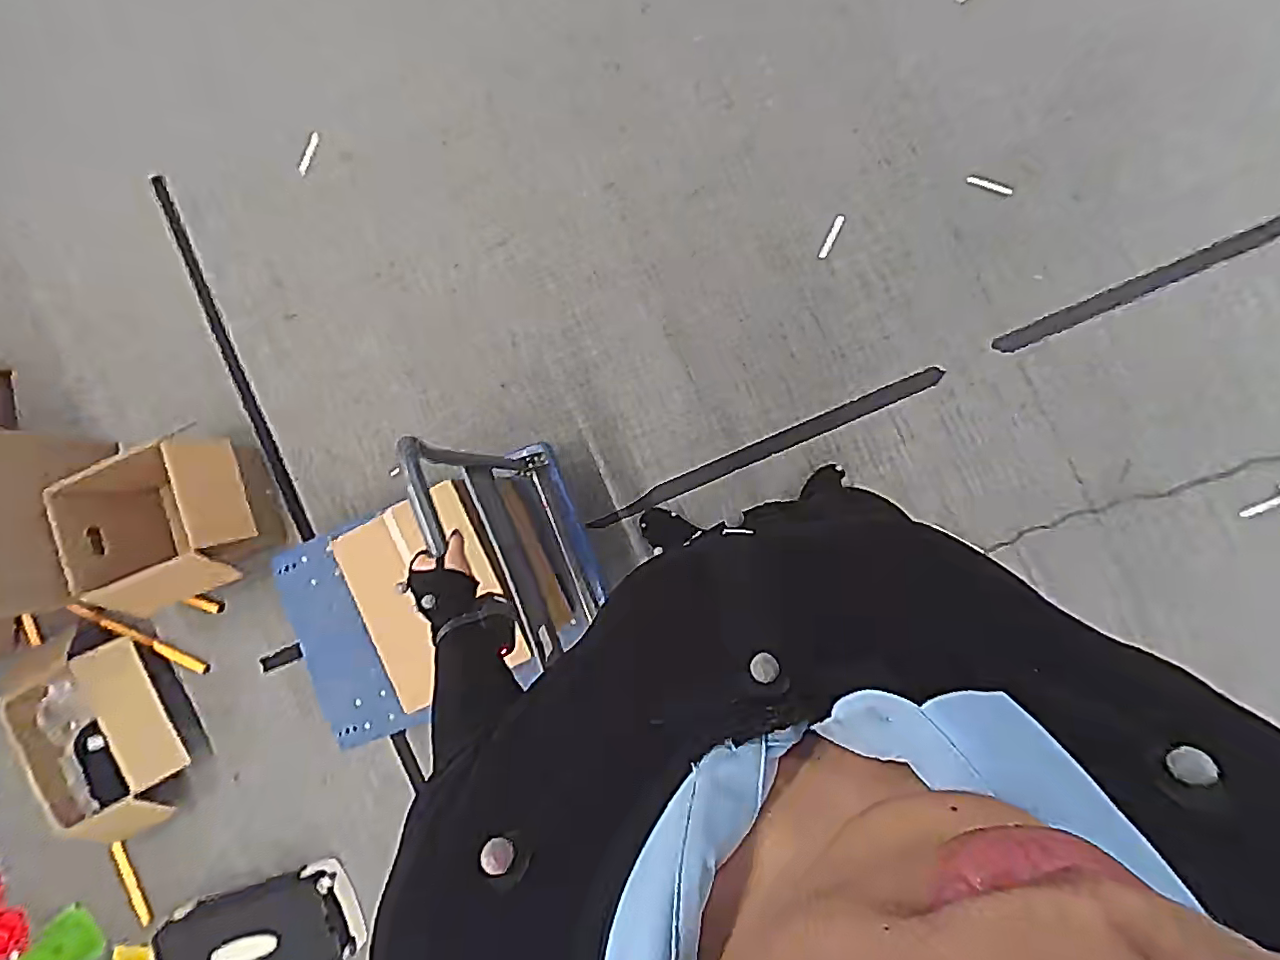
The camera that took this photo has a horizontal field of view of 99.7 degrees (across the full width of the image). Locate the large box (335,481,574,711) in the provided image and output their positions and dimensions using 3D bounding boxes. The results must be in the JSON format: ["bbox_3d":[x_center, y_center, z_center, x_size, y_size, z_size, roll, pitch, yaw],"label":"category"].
[{"bbox_3d":[-0.409,0.245,1.270,0.320,0.320,0.408,-27,86,8],"label":"large box"}]
